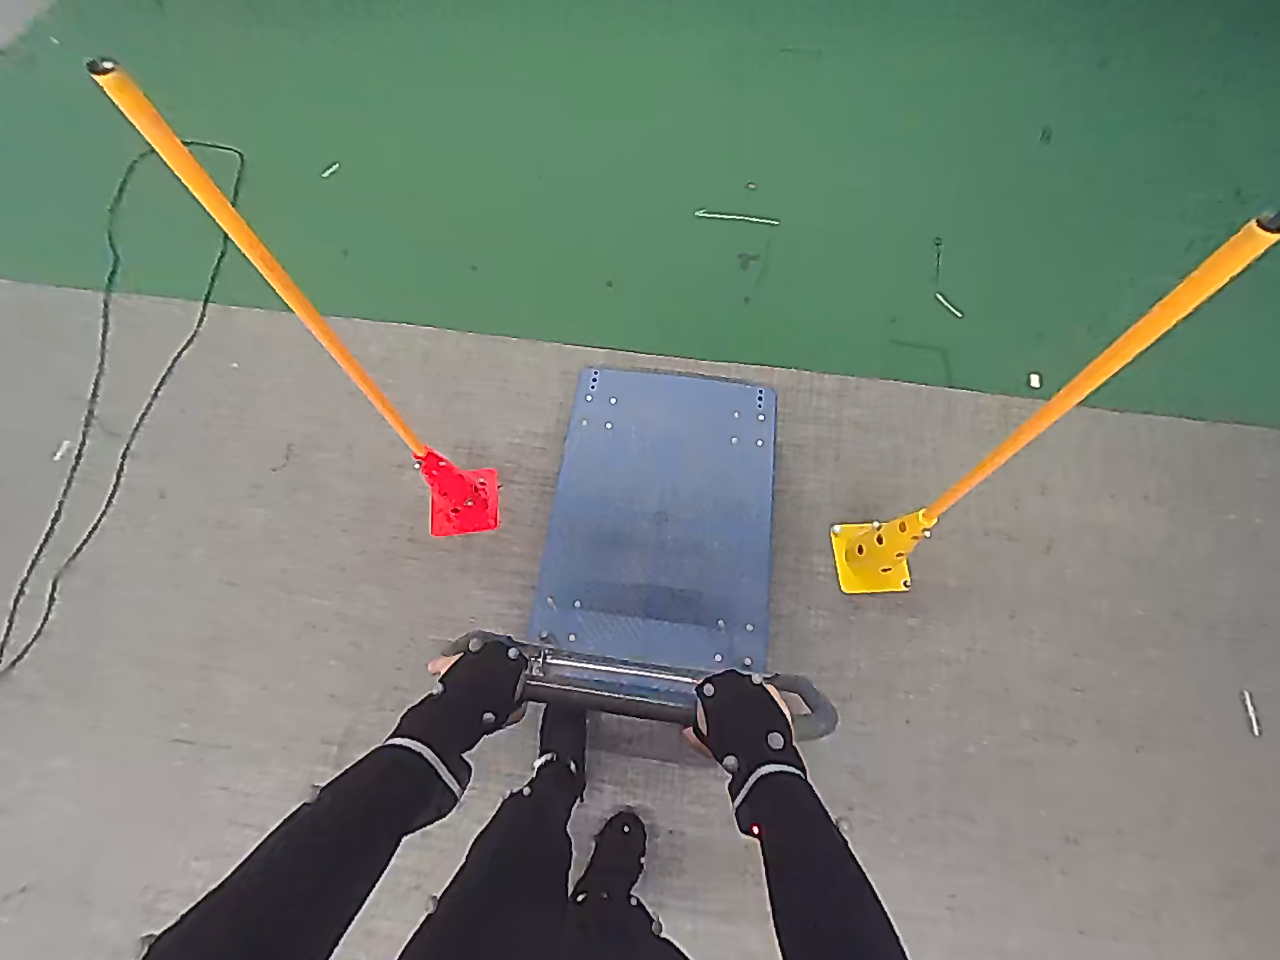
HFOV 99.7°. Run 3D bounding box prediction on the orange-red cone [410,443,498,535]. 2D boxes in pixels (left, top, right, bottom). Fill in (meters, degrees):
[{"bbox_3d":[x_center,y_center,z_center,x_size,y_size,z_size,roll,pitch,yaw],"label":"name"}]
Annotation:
[{"bbox_3d":[-0.526,-0.003,1.444,0.199,0.360,0.198,-6,67,-1],"label":"orange-red cone"}]
